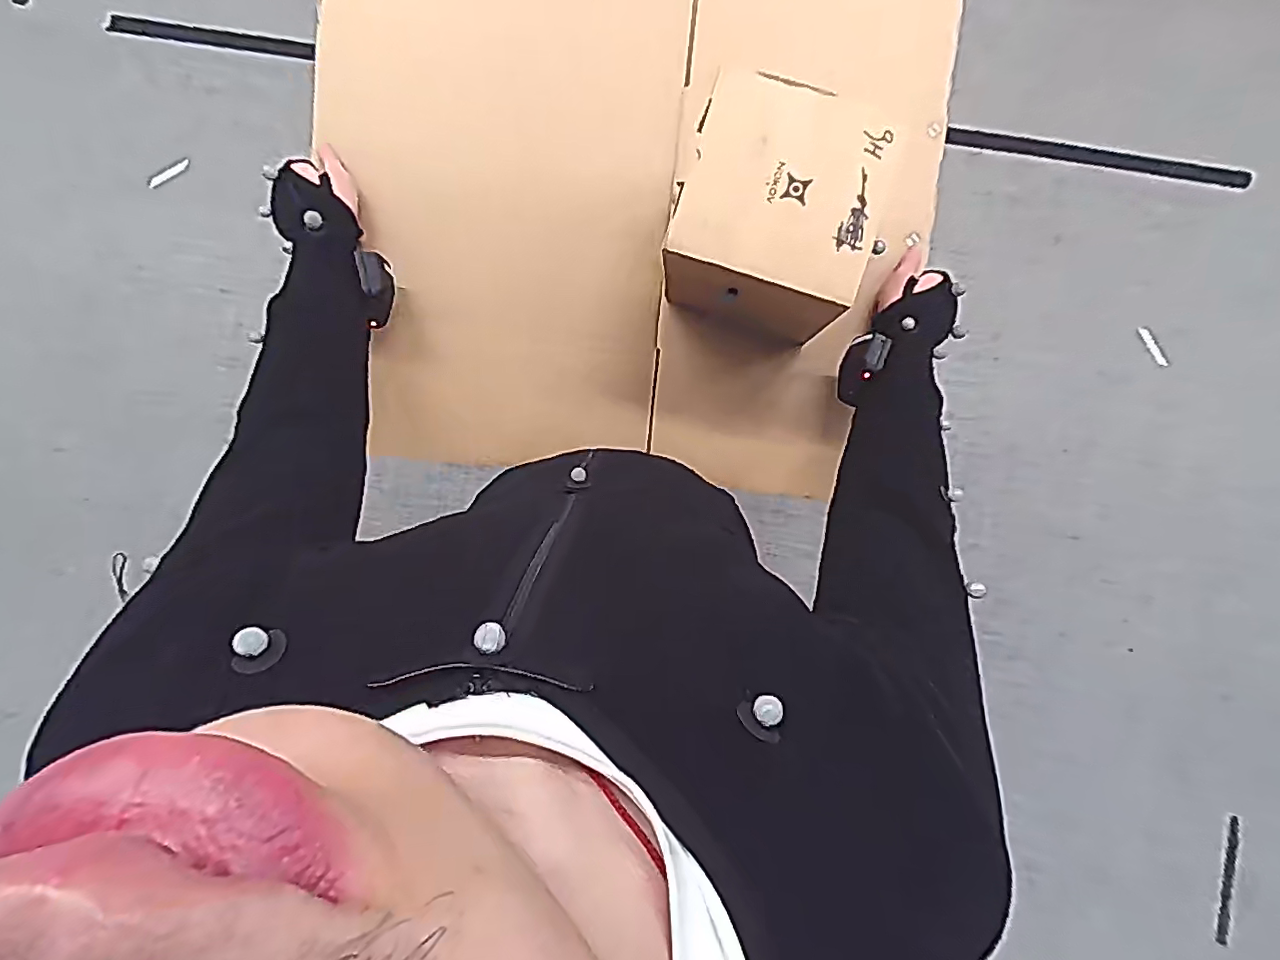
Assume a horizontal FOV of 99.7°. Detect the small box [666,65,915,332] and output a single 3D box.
[{"bbox_3d":[0.135,-0.264,0.552,0.179,0.176,0.168,18,95,3],"label":"small box"}]
